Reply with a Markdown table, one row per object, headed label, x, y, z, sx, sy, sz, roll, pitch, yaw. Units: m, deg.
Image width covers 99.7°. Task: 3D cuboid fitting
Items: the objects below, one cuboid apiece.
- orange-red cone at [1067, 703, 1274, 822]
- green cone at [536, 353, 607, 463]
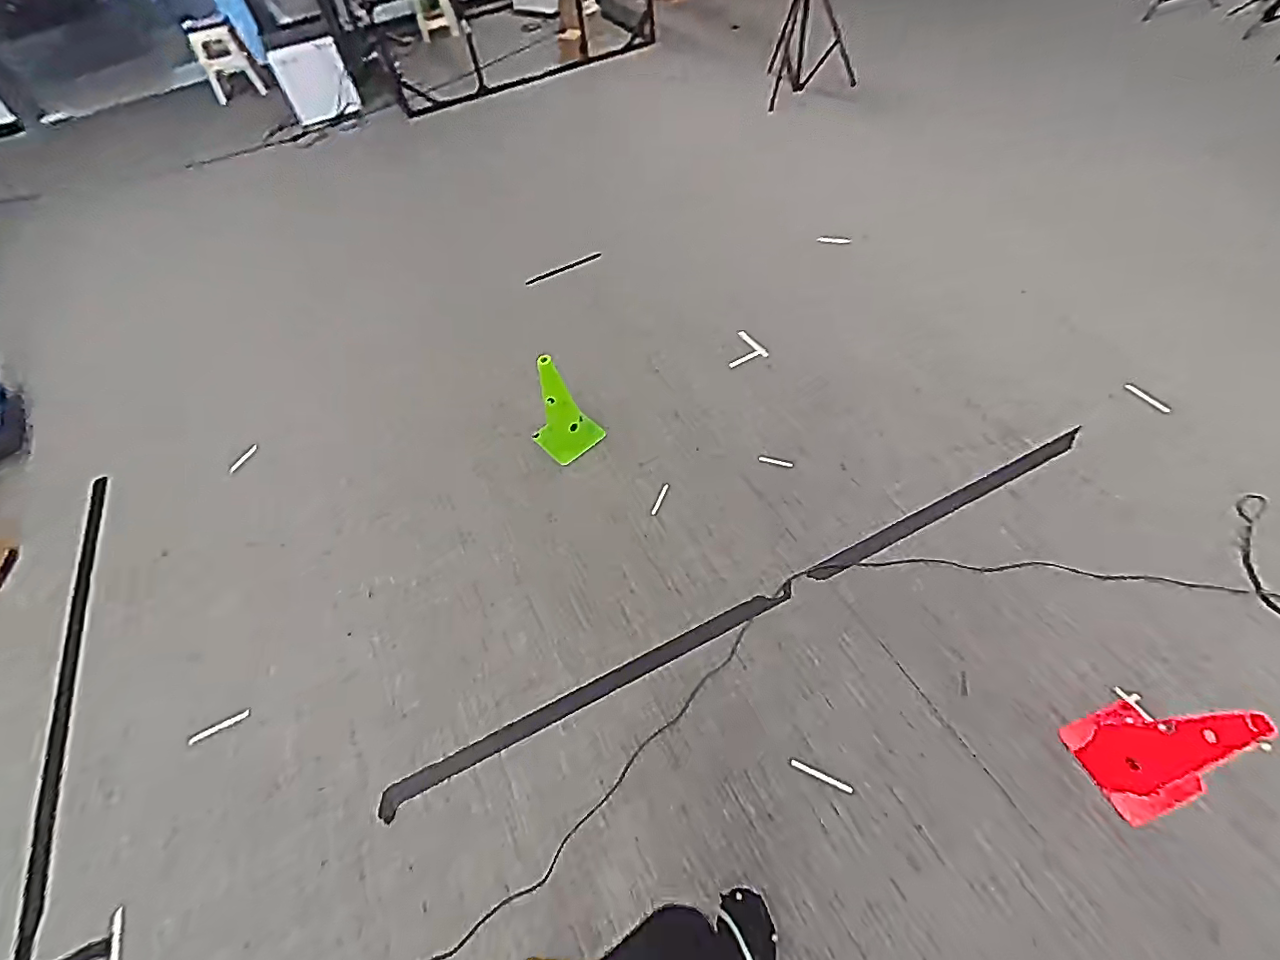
| label | x | y | z | sx | sy | sz | roll | pitch | yaw |
| --- | --- | --- | --- | --- | --- | --- | --- | --- | --- |
| orange-red cone | 1.048 | 0.505 | 1.033 | 0.199 | 0.360 | 0.198 | -20 | 53 | -5 |
| green cone | -0.259 | -0.262 | 1.778 | 0.202 | 0.368 | 0.200 | -38 | 58 | -20 |
